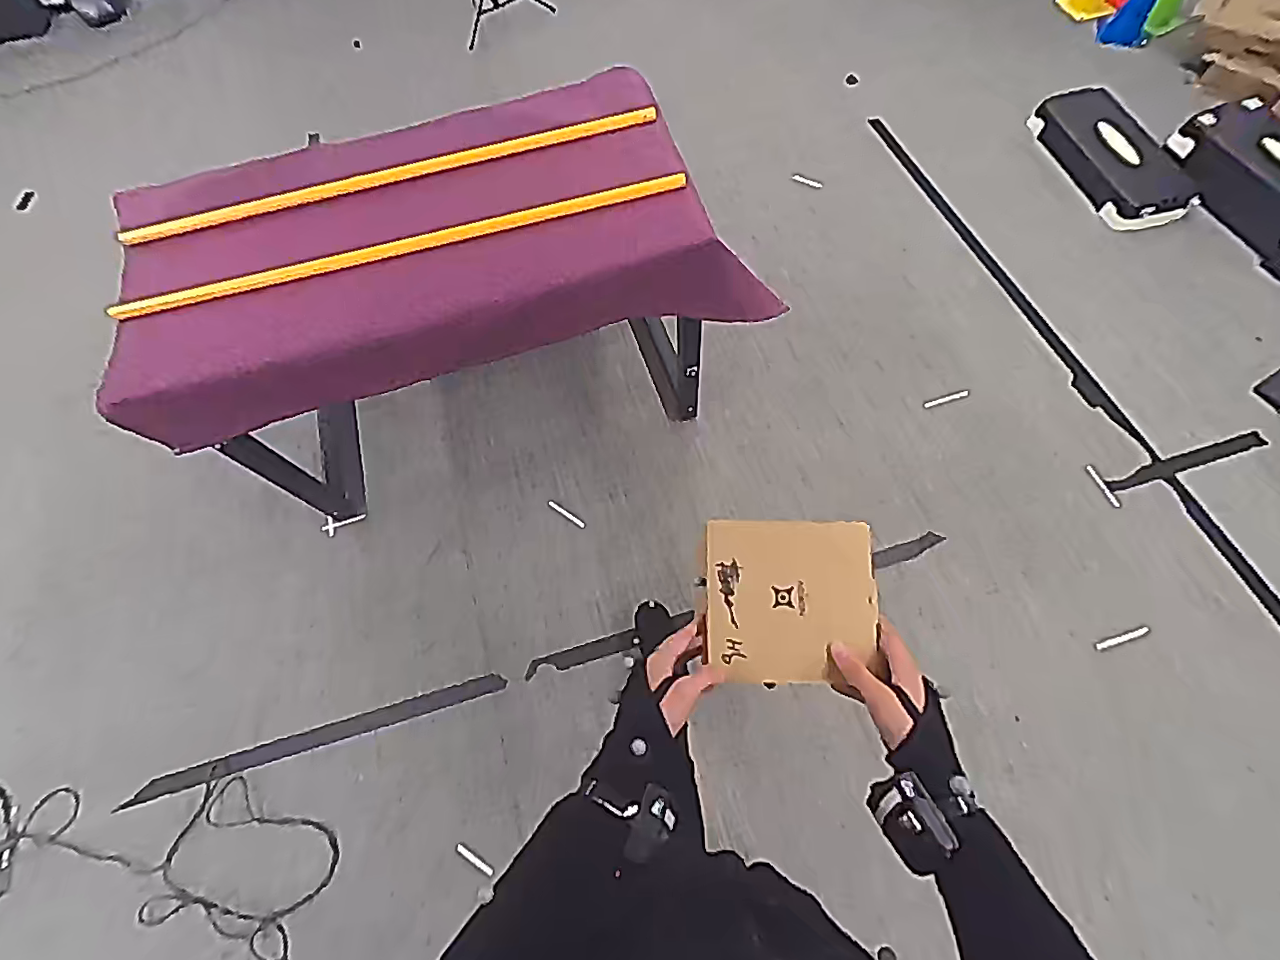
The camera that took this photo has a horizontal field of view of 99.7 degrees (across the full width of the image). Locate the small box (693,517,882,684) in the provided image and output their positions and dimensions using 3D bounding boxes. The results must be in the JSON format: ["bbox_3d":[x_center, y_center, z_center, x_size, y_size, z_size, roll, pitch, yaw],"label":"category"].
[{"bbox_3d":[0.157,0.140,0.633,0.179,0.176,0.168,1,75,1],"label":"small box"}]
